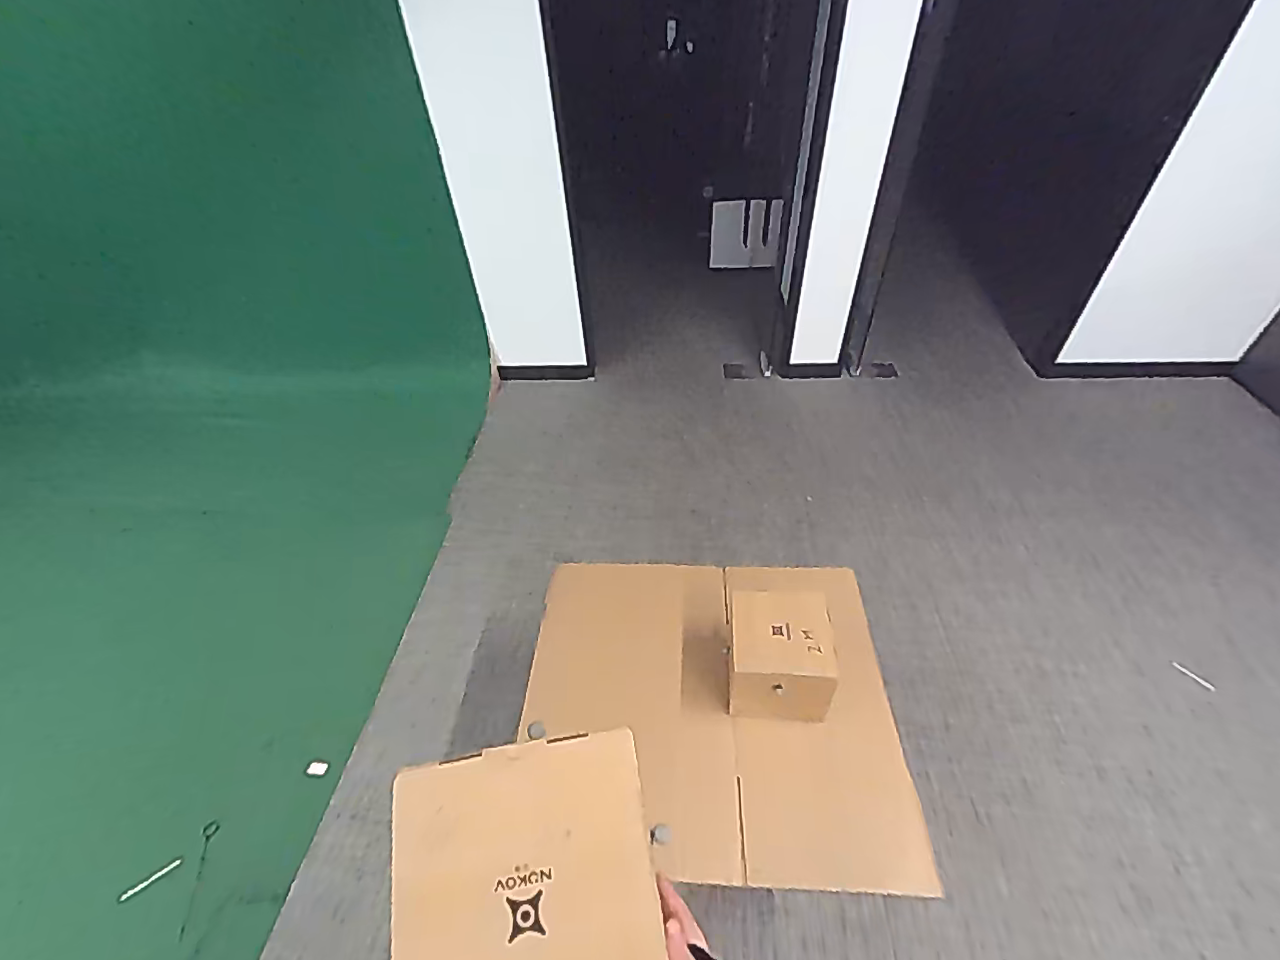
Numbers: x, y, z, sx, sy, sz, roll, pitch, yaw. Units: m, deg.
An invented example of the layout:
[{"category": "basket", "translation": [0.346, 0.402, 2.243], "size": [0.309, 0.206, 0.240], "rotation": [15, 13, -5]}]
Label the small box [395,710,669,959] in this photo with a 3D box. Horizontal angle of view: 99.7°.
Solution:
[{"category": "small box", "translation": [-0.073, 0.290, 0.419], "size": [0.168, 0.176, 0.179], "rotation": [-9, 64, -4]}]

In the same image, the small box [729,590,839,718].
[{"category": "small box", "translation": [0.255, 0.323, 1.001], "size": [0.179, 0.176, 0.168], "rotation": [1, 44, 8]}]
